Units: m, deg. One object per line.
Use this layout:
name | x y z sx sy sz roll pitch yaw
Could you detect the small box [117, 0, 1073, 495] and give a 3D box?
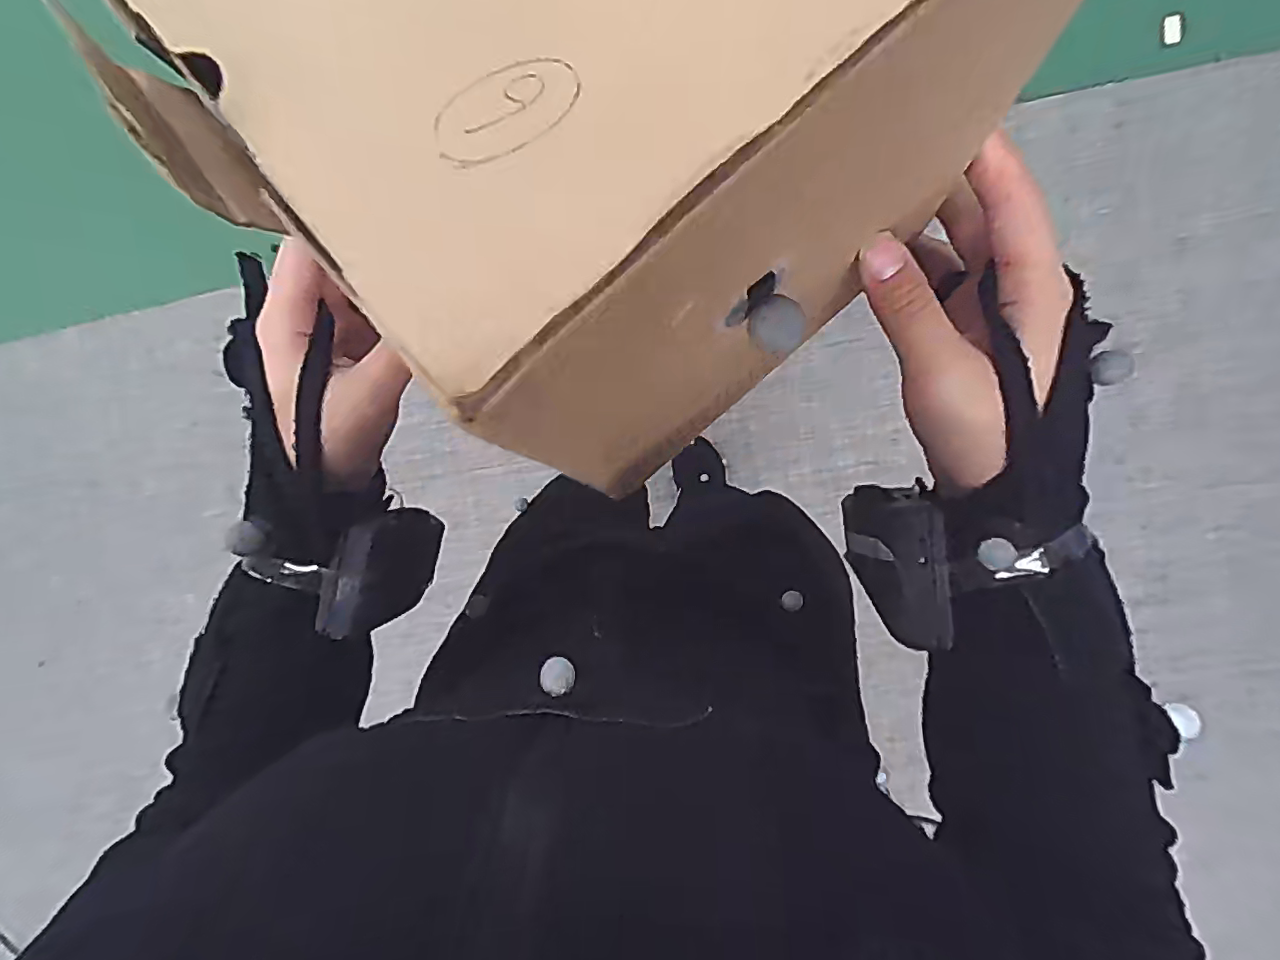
small box | -0.002 -0.110 0.190 0.179 0.176 0.168 -42 80 1
